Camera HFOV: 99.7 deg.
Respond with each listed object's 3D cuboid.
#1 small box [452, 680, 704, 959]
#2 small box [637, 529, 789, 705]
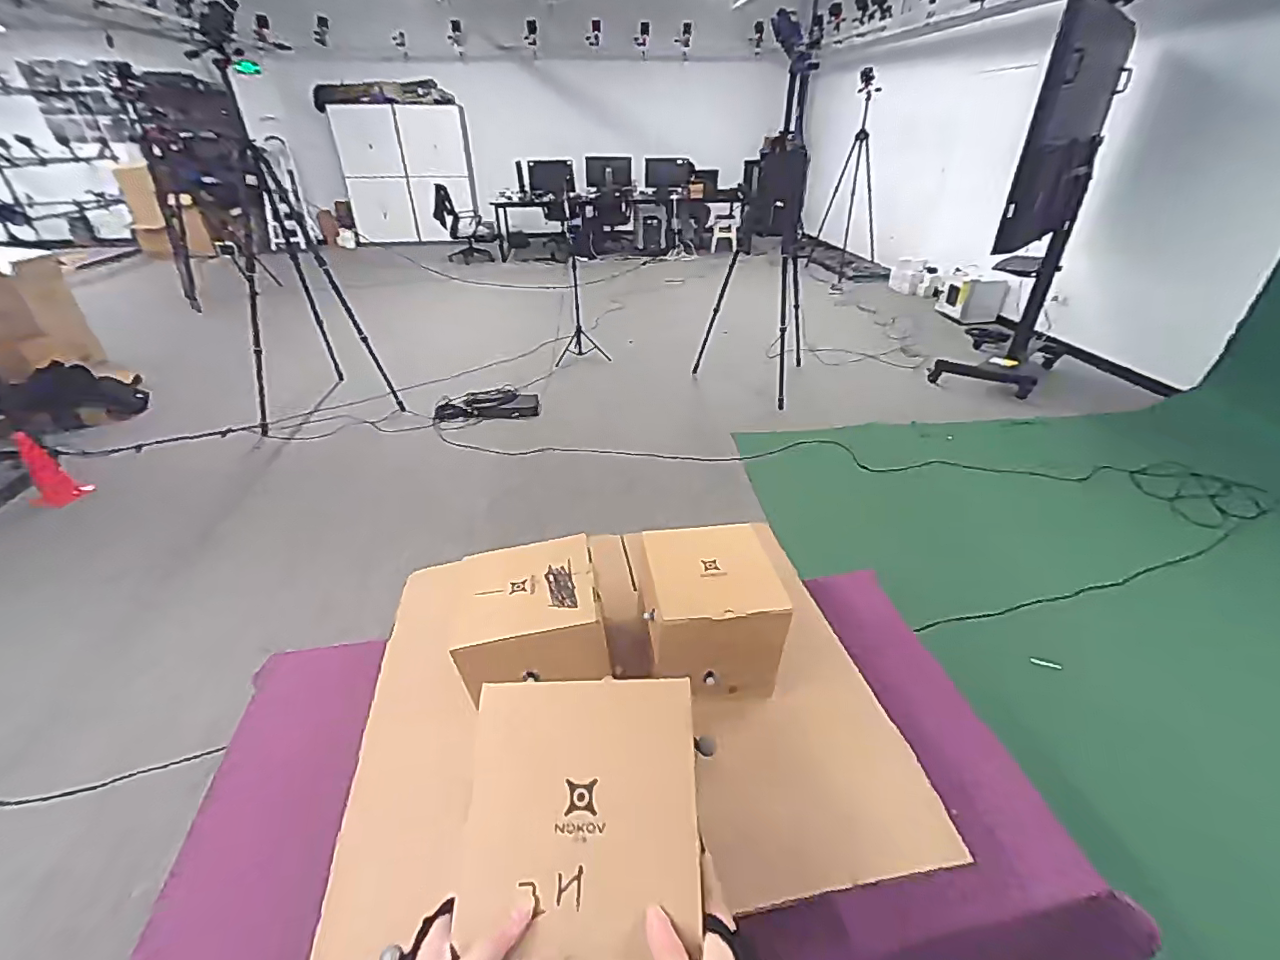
[{"bbox_3d":[-0.033,0.273,0.454,0.168,0.176,0.179,-3,62,6],"label":"small box"},{"bbox_3d":[0.088,0.190,0.764,0.168,0.176,0.179,-4,33,-8],"label":"small box"}]
